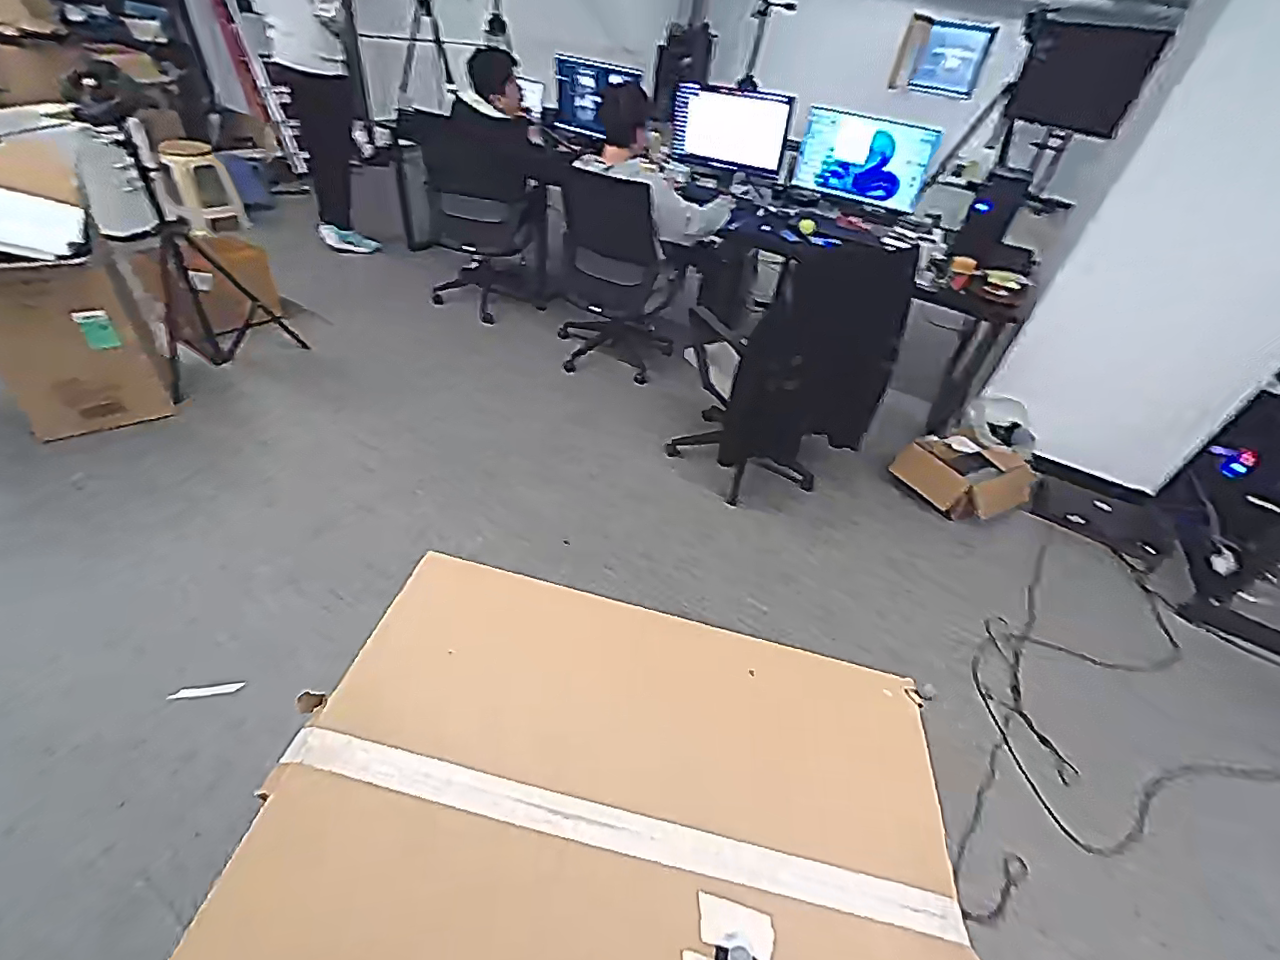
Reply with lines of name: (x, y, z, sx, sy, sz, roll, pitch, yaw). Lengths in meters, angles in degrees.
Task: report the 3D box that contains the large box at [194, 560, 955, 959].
large box: (-0.034, 0.318, 0.434, 0.408, 0.320, 0.320, 15, 43, 0)
